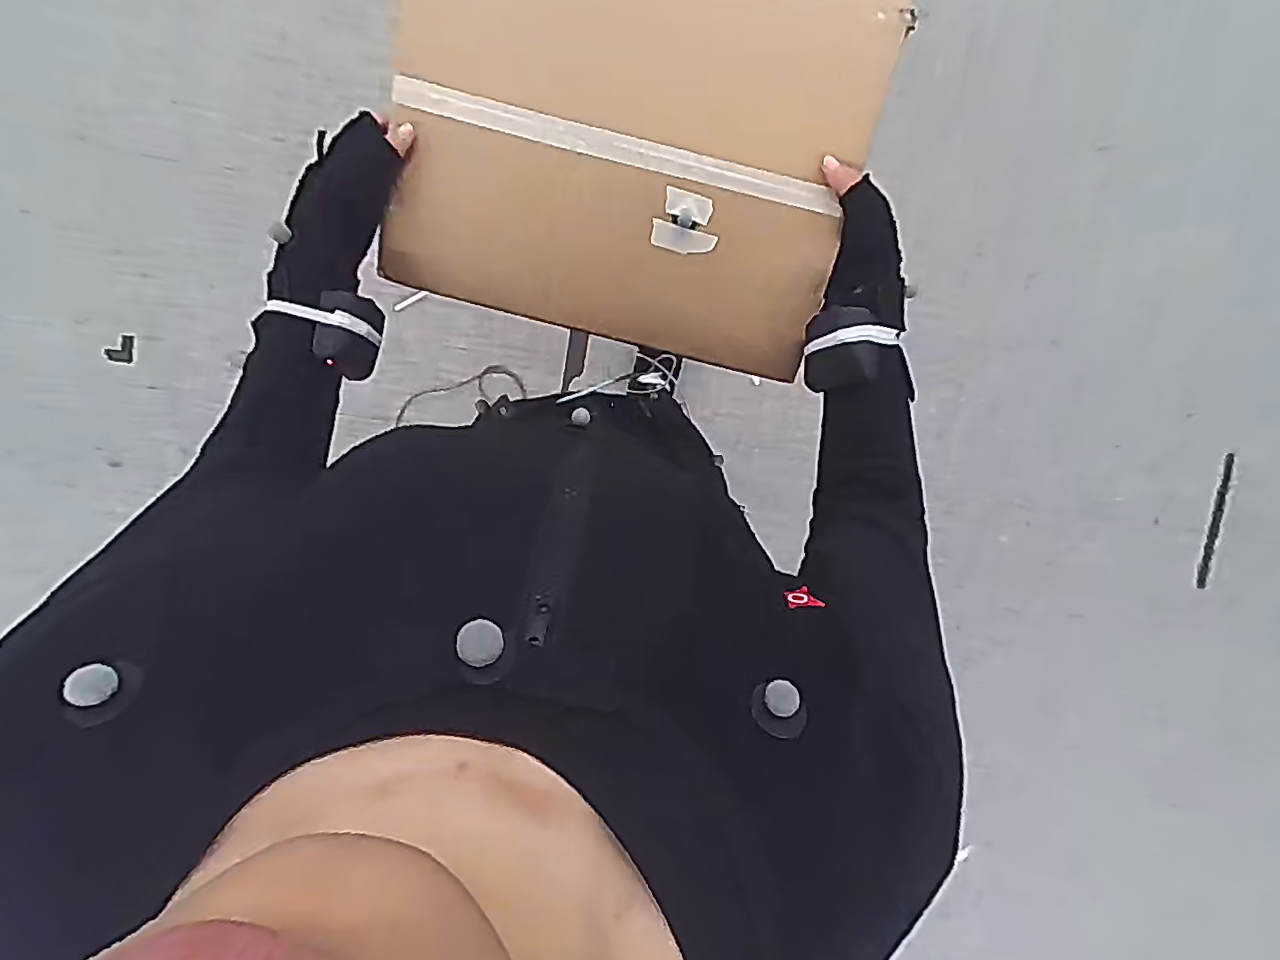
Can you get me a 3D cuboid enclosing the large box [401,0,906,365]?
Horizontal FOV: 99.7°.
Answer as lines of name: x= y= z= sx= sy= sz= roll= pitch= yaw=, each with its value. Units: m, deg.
large box: x=0.000 y=-0.339 z=0.627 sx=0.408 sy=0.320 sz=0.320 roll=14 pitch=107 yaw=-2
